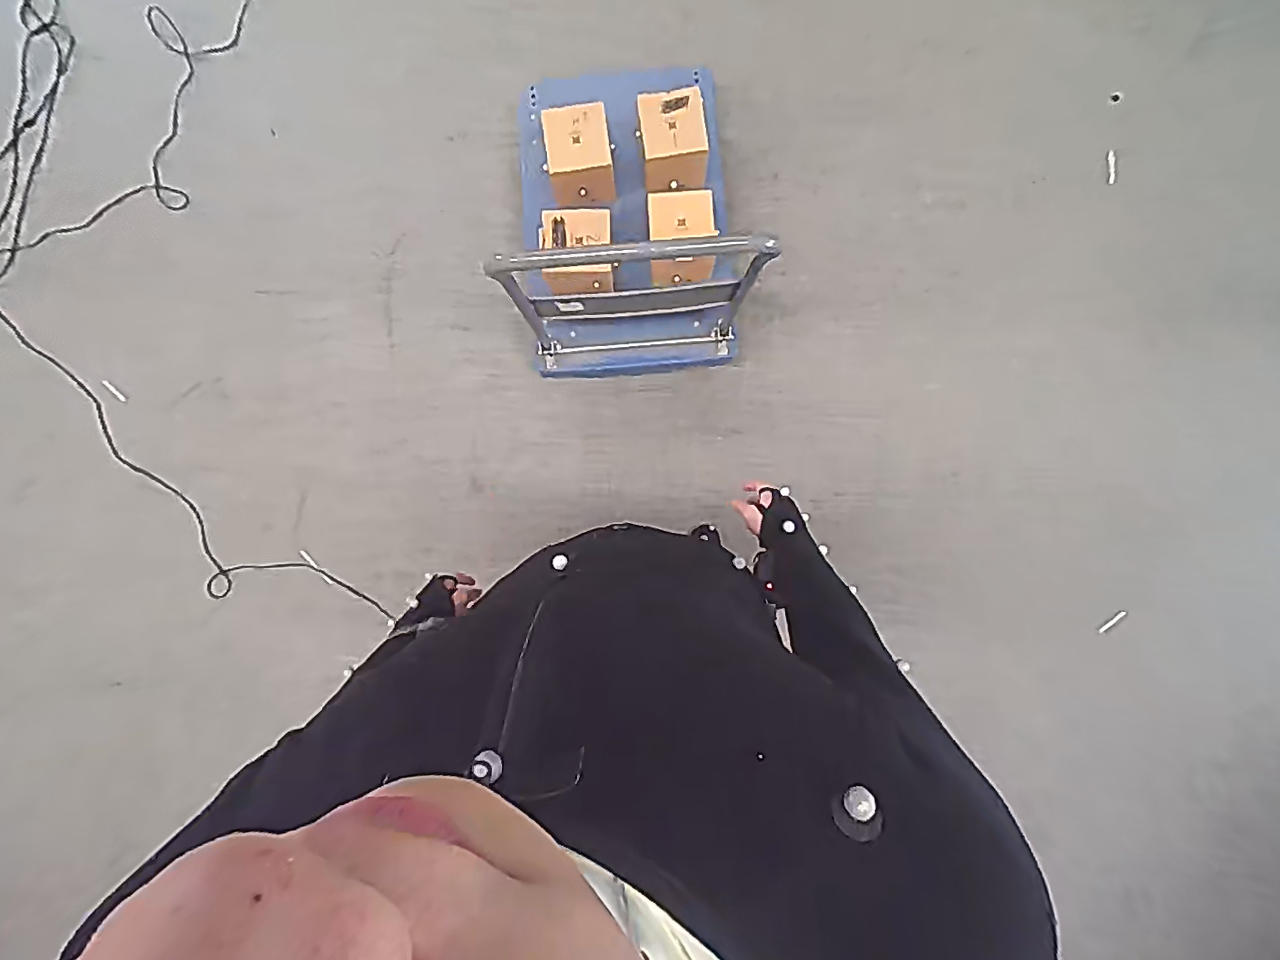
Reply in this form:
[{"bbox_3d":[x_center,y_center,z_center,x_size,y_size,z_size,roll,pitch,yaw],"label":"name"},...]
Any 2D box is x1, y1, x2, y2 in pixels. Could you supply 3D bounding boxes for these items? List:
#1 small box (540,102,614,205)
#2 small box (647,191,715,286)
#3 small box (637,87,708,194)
[{"bbox_3d":[-0.165,-0.873,1.466,0.168,0.176,0.179,-8,86,0],"label":"small box"},{"bbox_3d":[0.105,-0.641,1.449,0.168,0.176,0.179,-3,87,1],"label":"small box"},{"bbox_3d":[0.084,-0.910,1.463,0.168,0.176,0.179,-8,88,1],"label":"small box"}]
